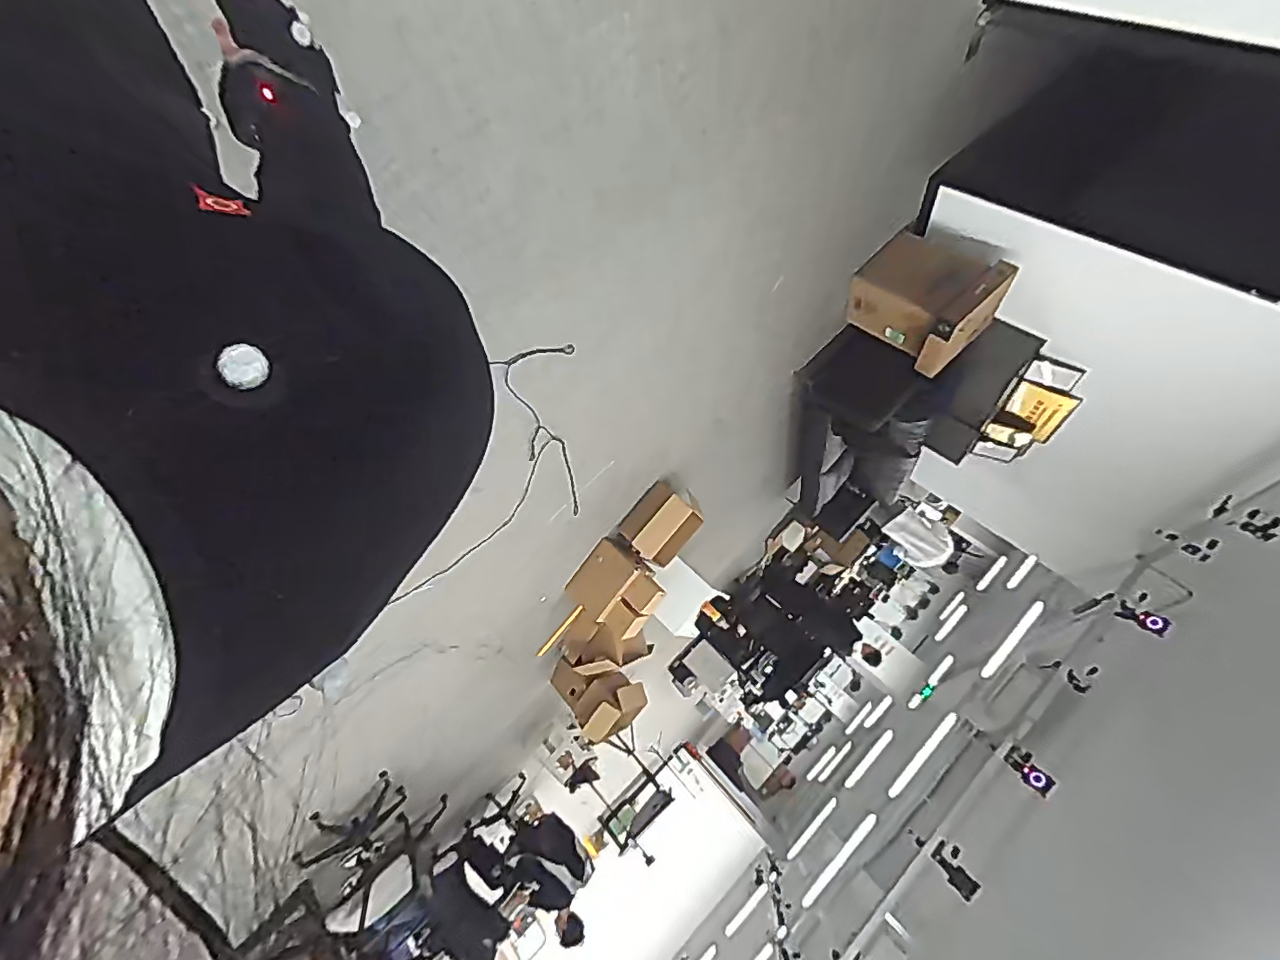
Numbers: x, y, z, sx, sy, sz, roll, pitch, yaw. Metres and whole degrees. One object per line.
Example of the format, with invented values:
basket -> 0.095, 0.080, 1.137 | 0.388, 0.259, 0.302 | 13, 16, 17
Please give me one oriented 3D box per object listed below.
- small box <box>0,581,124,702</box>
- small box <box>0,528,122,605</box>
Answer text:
small box -> -1.307, 0.355, 1.189 | 0.179, 0.176, 0.168 | -44, 153, -9
small box -> -1.396, 0.241, 1.270 | 0.179, 0.176, 0.168 | -45, 153, -7
